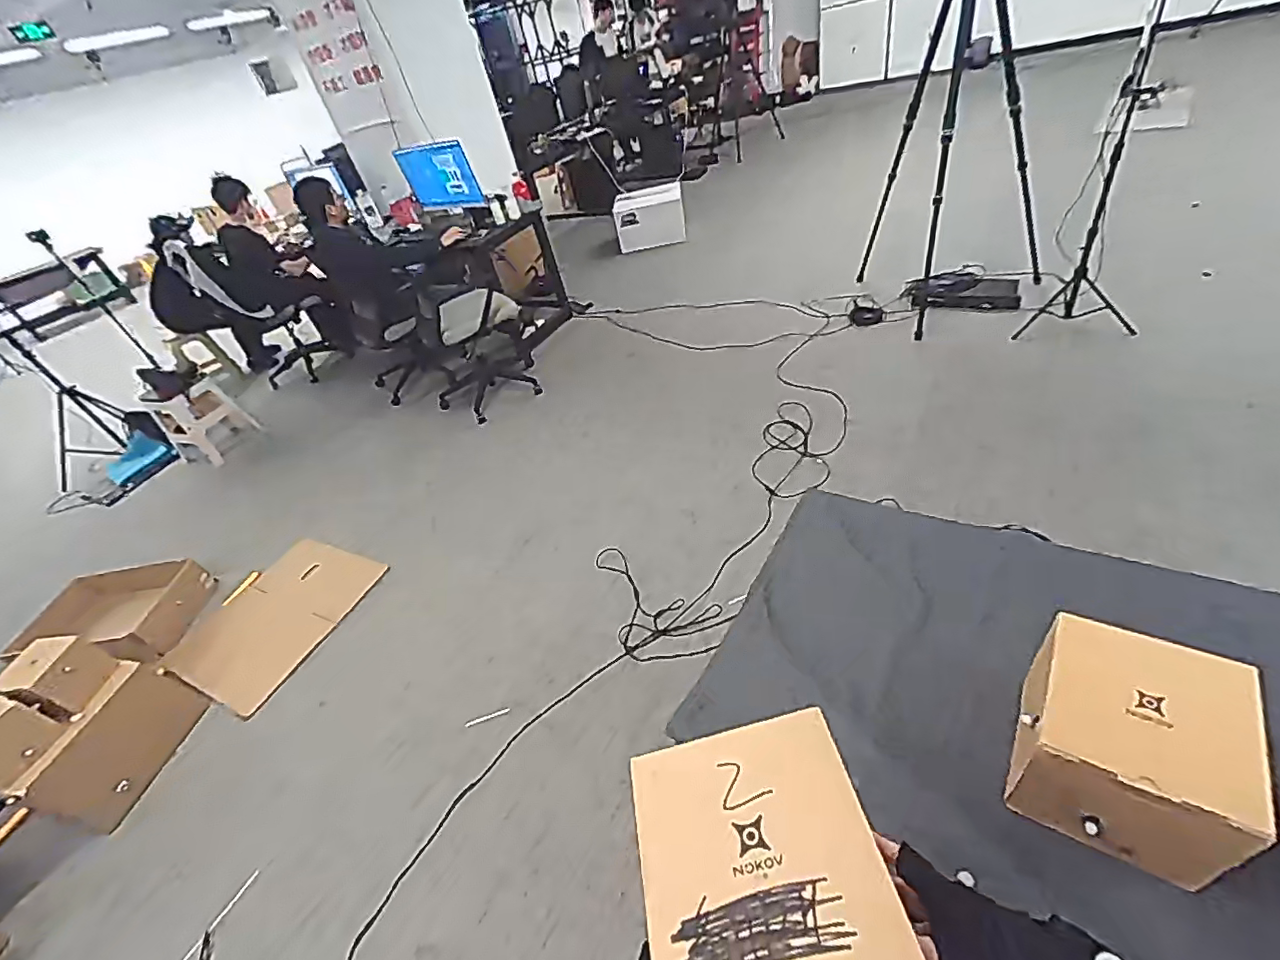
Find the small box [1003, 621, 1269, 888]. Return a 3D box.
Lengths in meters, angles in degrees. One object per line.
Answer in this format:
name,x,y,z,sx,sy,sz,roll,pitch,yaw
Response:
small box,0.523,0.296,0.594,0.168,0.176,0.179,16,50,31
